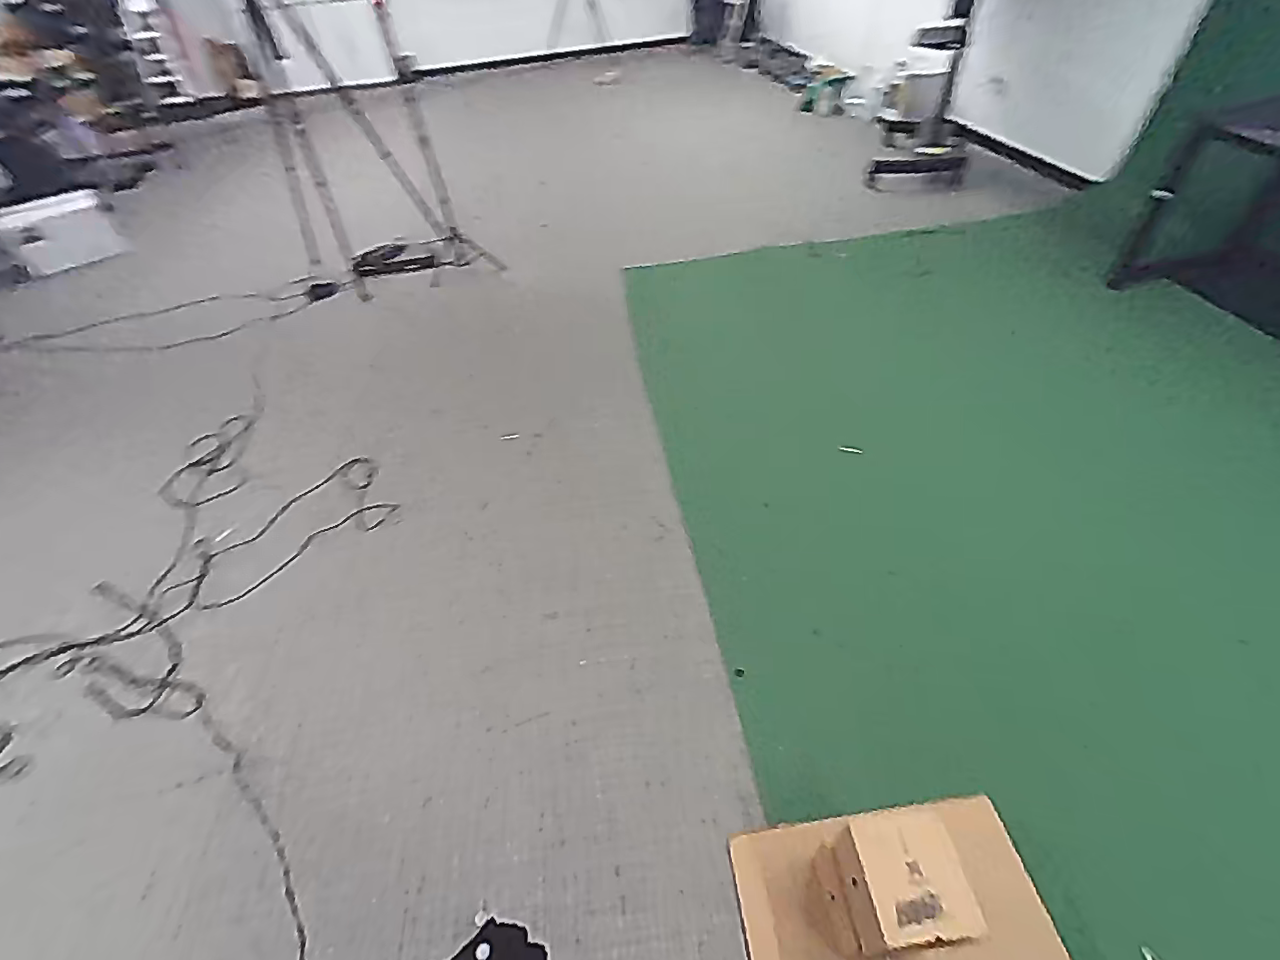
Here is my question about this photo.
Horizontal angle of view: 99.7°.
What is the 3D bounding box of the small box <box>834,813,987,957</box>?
[{"bbox_3d":[0.456,0.711,0.945,0.168,0.176,0.179,-6,44,0],"label":"small box"}]
